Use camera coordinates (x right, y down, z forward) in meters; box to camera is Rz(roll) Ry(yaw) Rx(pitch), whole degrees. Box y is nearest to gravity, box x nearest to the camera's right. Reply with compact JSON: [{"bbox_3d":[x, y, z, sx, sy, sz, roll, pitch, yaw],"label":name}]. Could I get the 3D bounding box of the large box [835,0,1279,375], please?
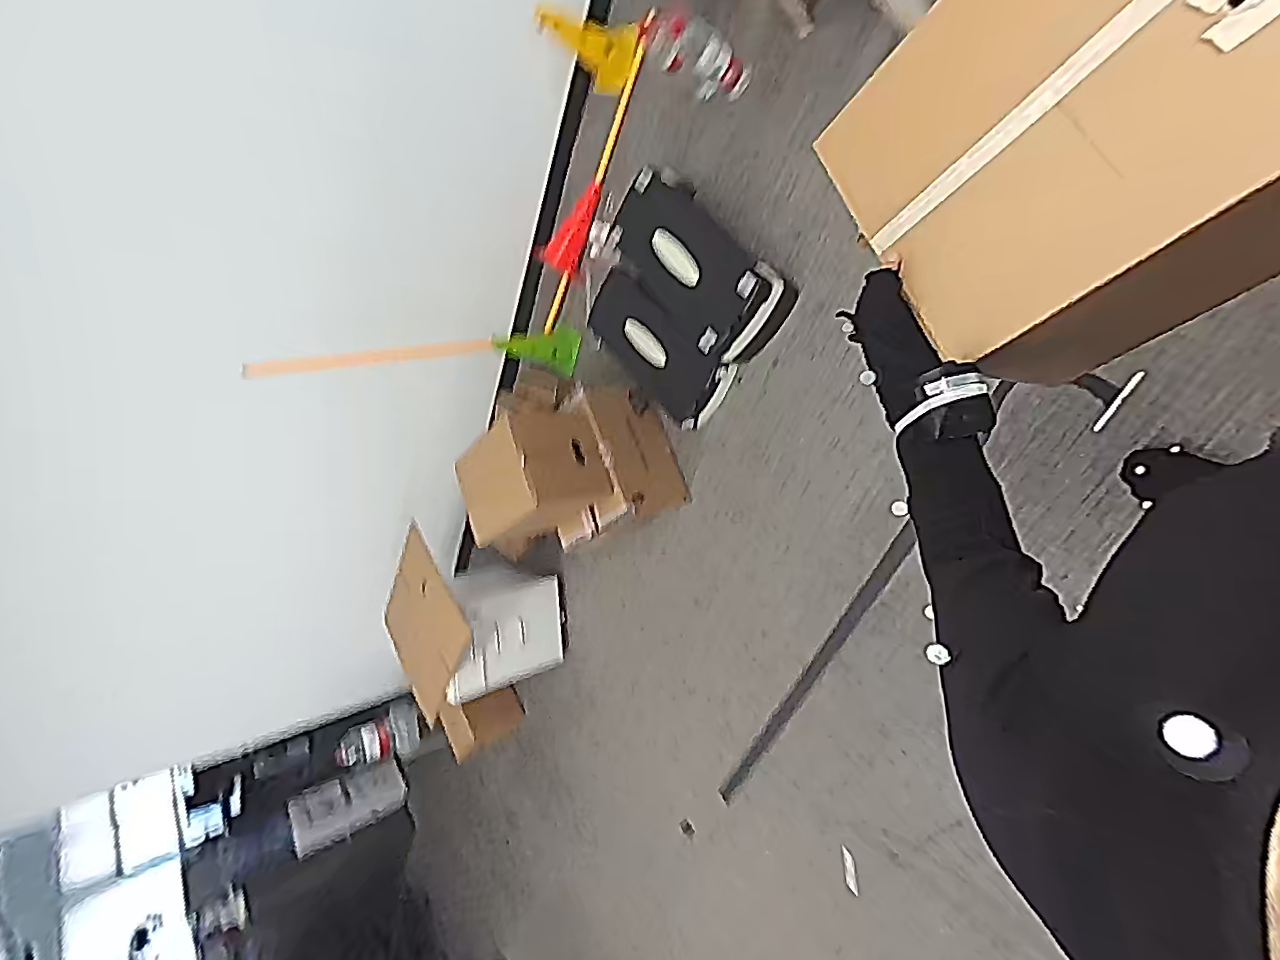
[{"bbox_3d":[0.483,-0.346,0.507,0.408,0.320,0.320,-38,64,46],"label":"large box"}]
